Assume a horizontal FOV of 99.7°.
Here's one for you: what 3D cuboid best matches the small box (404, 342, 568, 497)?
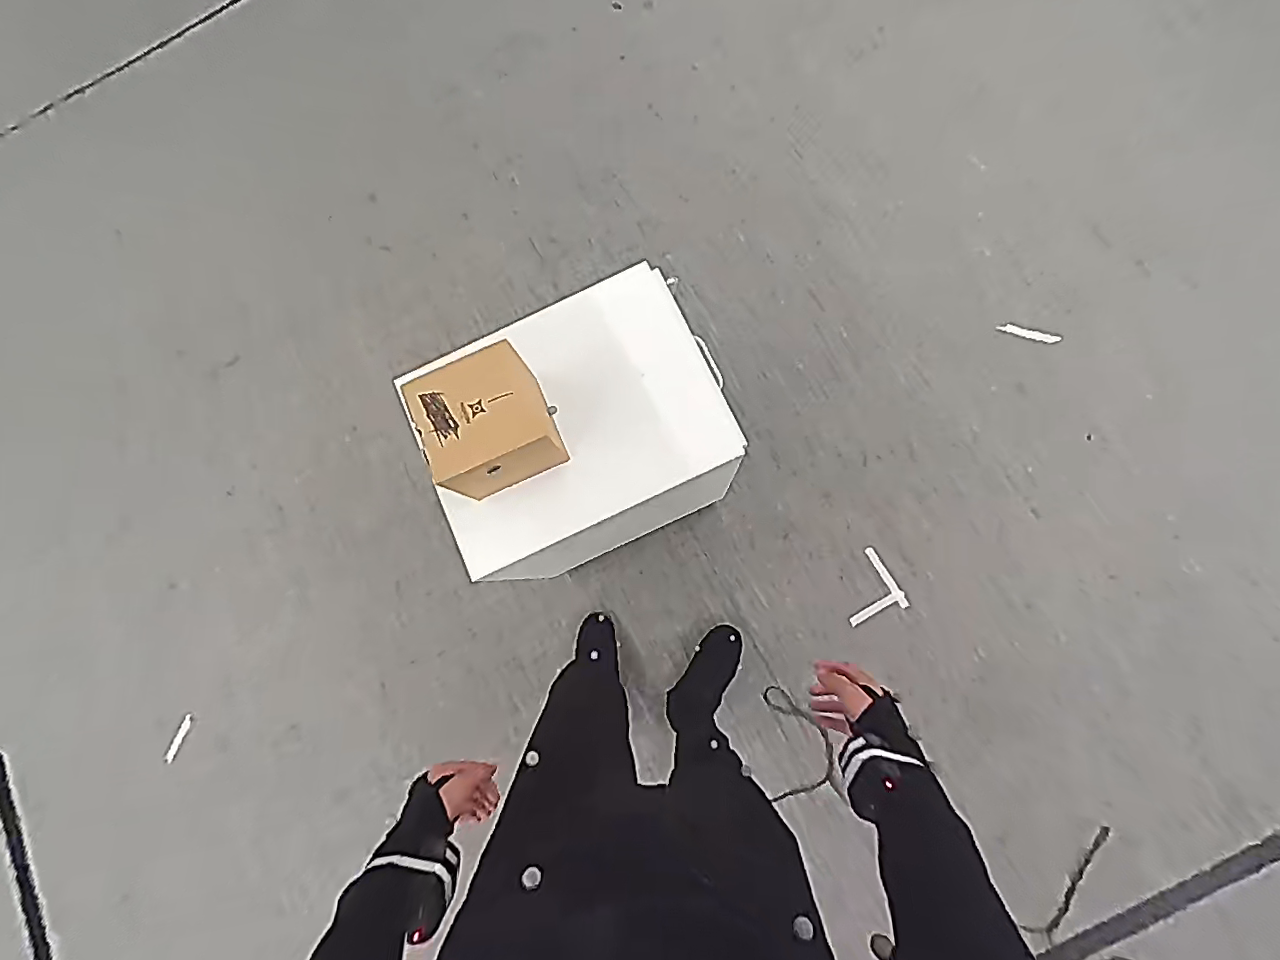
[{"bbox_3d":[-0.235,-0.085,0.862,0.179,0.176,0.168,-23,79,-1],"label":"small box"}]
